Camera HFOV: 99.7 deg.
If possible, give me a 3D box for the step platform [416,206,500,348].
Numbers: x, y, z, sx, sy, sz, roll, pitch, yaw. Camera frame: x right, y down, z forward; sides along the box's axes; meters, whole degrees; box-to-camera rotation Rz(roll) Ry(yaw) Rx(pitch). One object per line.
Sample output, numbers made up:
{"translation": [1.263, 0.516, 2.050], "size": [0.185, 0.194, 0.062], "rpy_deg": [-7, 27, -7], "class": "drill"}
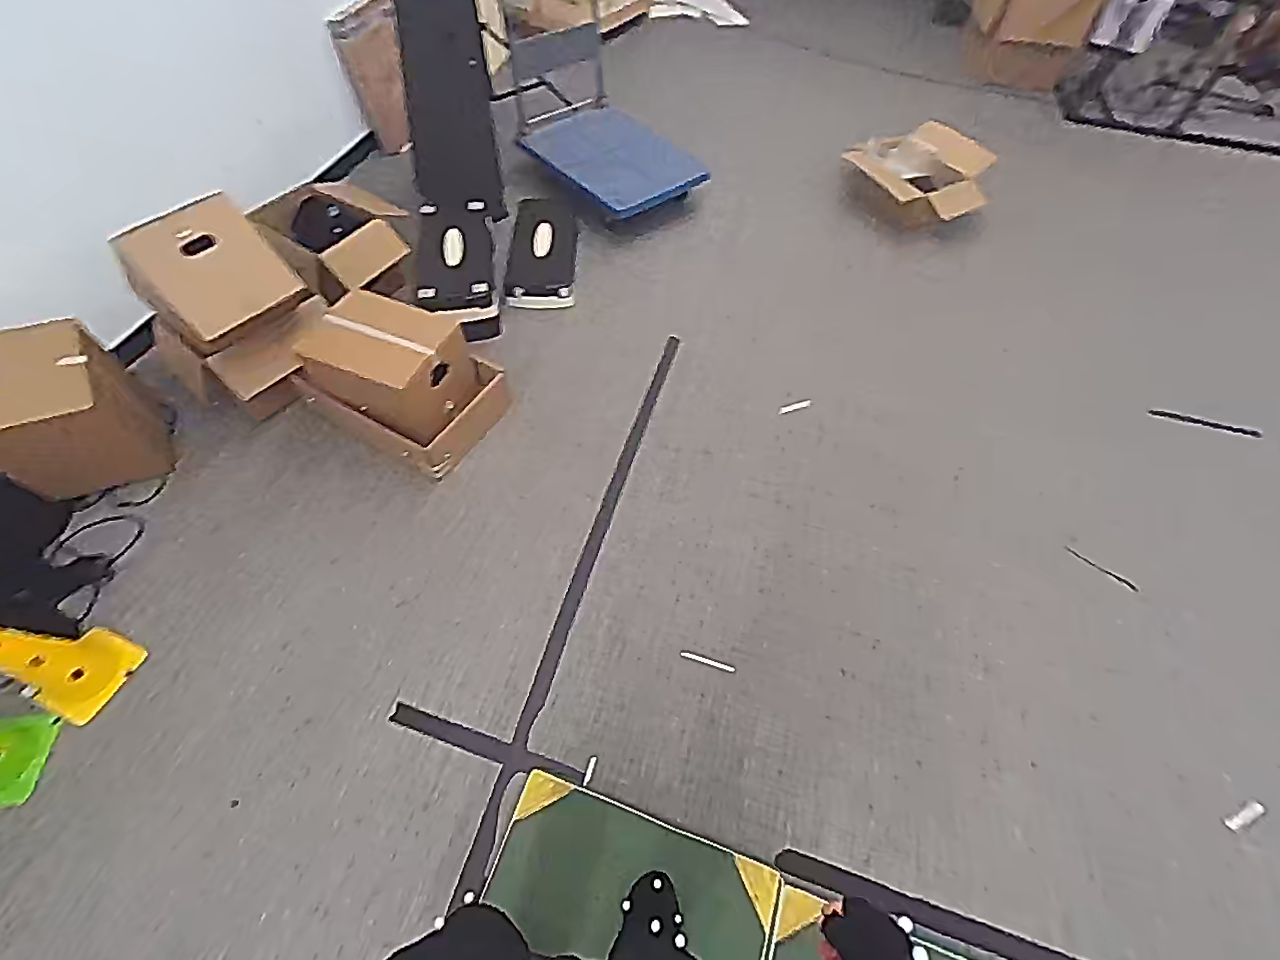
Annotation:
{"translation": [-0.755, -0.861, 2.235], "size": [0.286, 0.204, 0.684], "rpy_deg": [-9, 59, -8], "class": "step platform"}
